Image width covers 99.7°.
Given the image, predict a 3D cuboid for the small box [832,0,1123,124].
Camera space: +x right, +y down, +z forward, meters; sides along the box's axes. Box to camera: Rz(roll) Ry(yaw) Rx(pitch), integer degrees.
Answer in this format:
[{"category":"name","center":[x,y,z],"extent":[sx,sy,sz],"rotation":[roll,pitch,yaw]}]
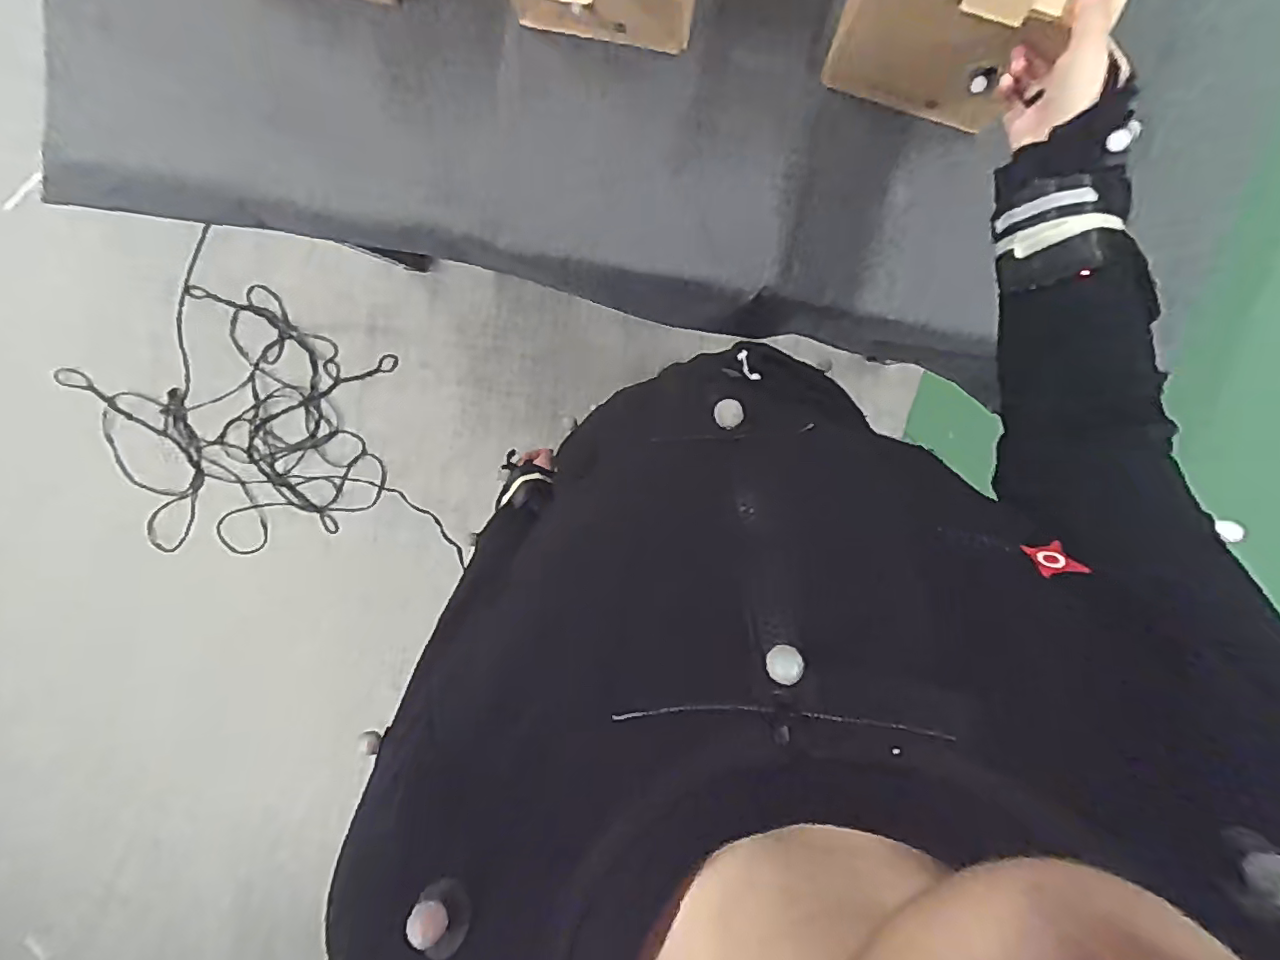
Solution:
[{"category":"small box","center":[0.273,-0.425,0.429],"extent":[0.168,0.176,0.179],"rotation":[17,102,-1]}]

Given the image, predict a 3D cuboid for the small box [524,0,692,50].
[{"category":"small box","center":[-0.025,-0.502,0.434],"extent":[0.168,0.176,0.179],"rotation":[11,103,1]}]
